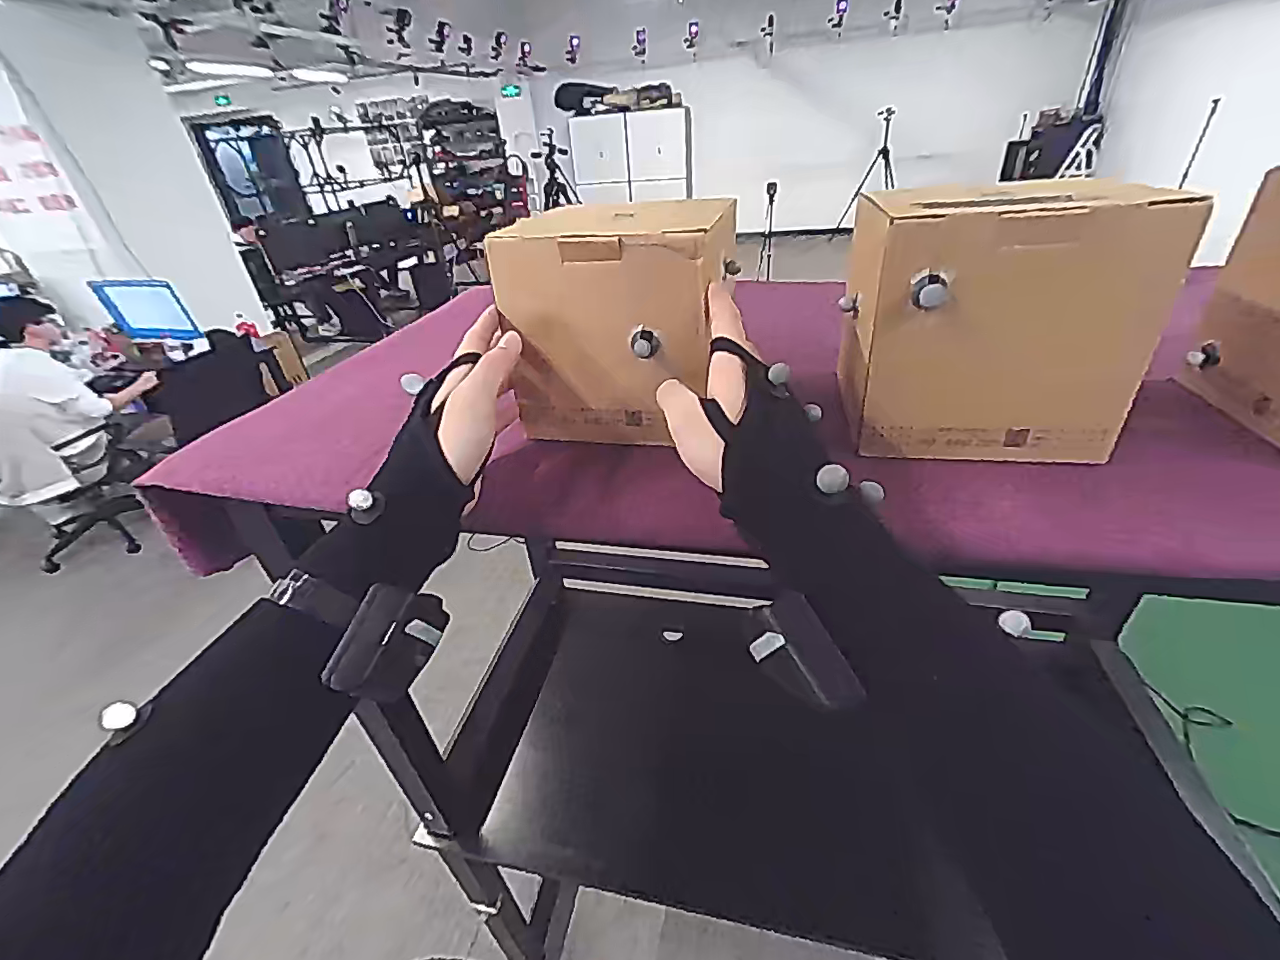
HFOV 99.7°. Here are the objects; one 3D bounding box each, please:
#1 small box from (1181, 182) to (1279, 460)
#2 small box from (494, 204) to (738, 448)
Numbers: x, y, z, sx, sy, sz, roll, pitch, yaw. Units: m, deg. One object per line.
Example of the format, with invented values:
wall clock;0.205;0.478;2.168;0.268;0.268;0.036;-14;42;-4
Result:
small box;0.535;-0.109;0.370;0.179;0.176;0.168;4;33;13
small box;-0.004;-0.142;0.491;0.168;0.176;0.179;5;34;14
